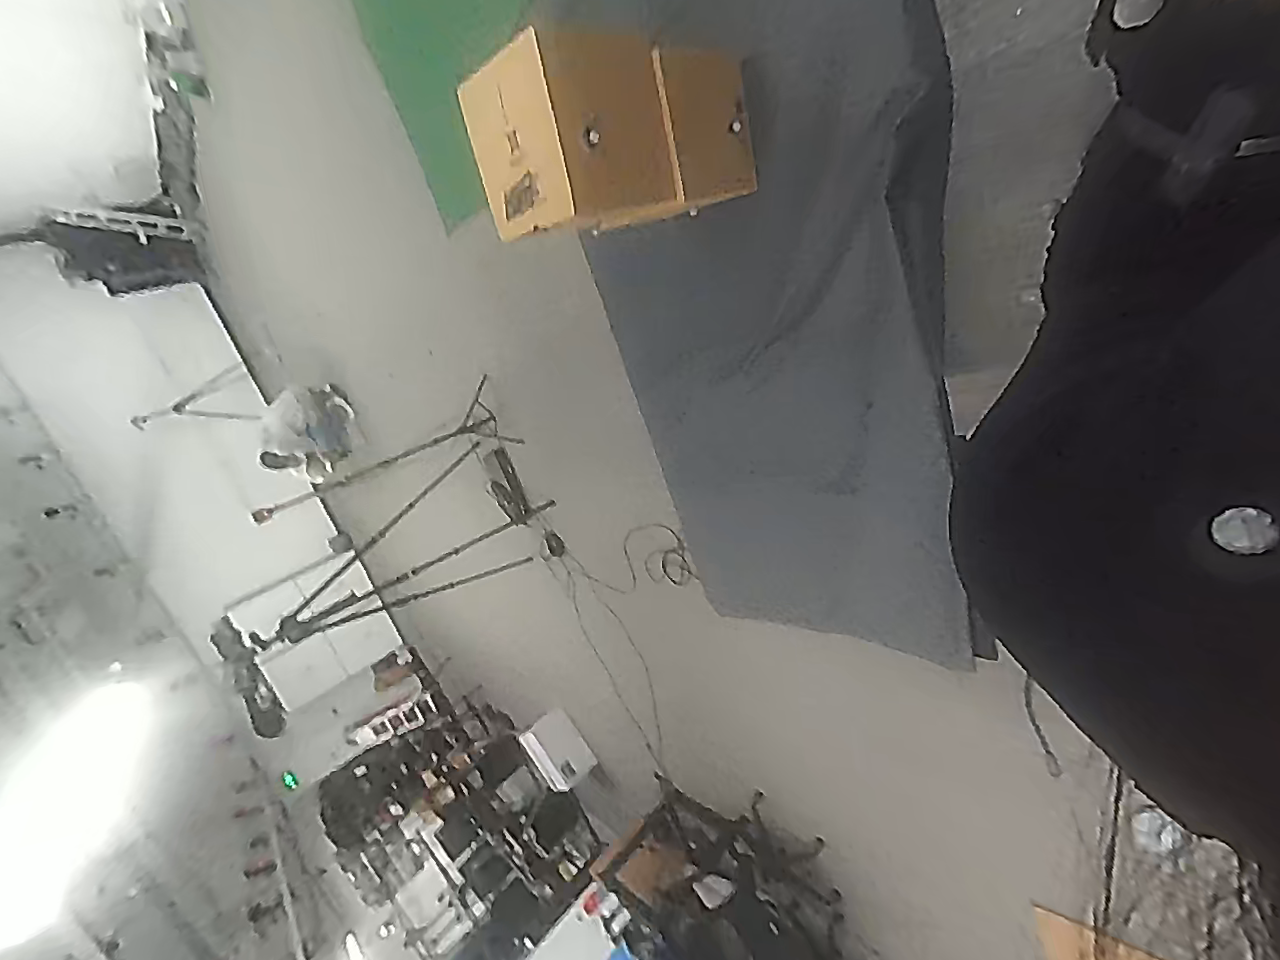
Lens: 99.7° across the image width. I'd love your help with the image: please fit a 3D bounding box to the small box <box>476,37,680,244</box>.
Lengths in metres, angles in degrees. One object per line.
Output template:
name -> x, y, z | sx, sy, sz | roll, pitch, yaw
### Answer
small box -> -0.069, -0.413, 0.675 | 0.168, 0.176, 0.179 | 11, 122, 46
